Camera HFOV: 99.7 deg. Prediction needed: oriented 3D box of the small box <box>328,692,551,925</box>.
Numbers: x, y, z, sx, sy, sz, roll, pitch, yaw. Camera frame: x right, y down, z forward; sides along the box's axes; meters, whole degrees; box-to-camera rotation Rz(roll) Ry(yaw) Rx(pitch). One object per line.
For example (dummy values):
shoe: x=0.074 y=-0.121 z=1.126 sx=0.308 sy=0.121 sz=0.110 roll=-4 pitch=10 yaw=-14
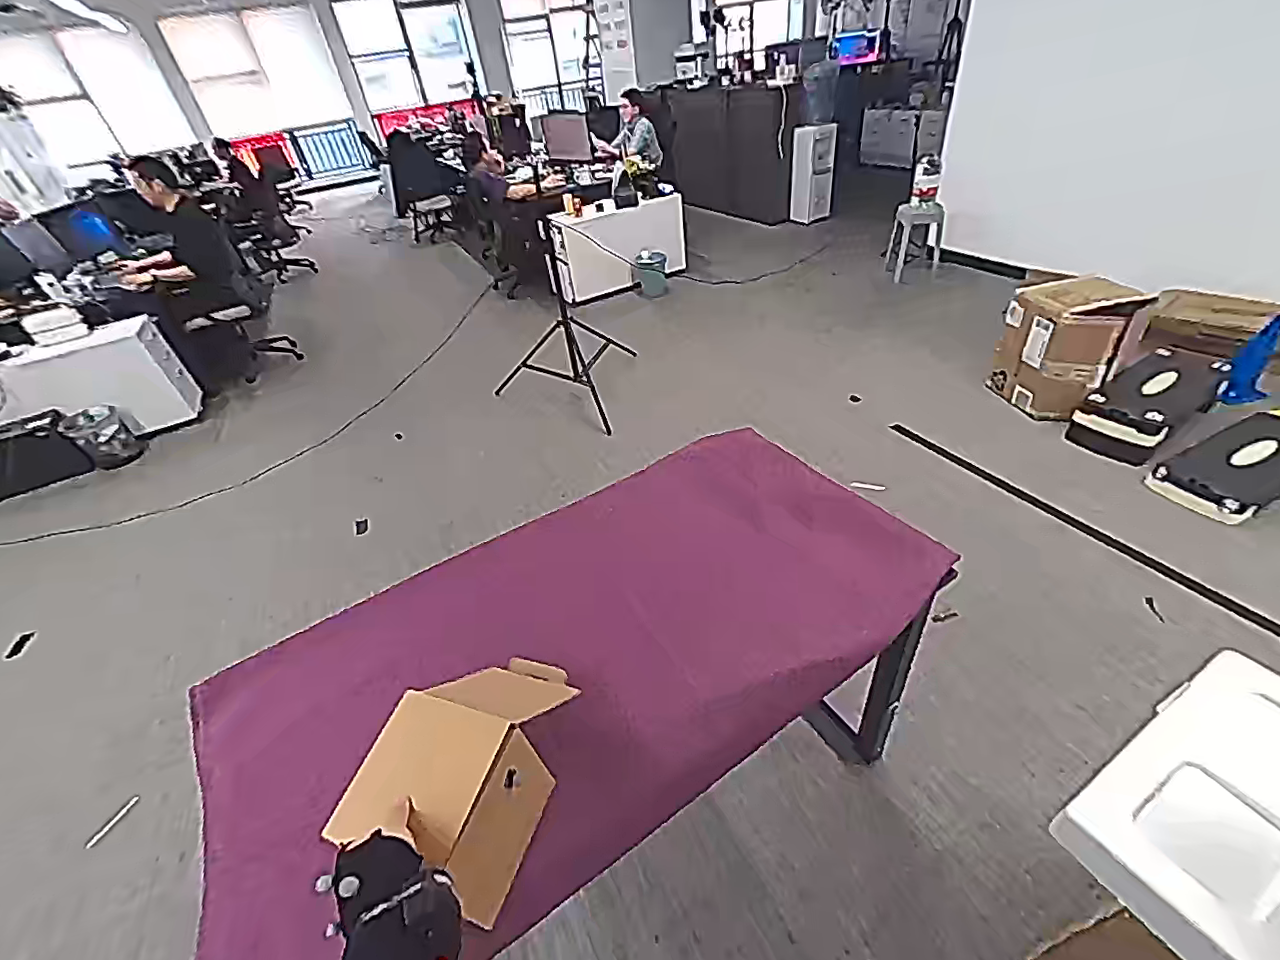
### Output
small box: x=-0.232 y=0.407 z=0.680 sx=0.168 sy=0.176 sz=0.179 roll=5 pitch=42 yaw=26
